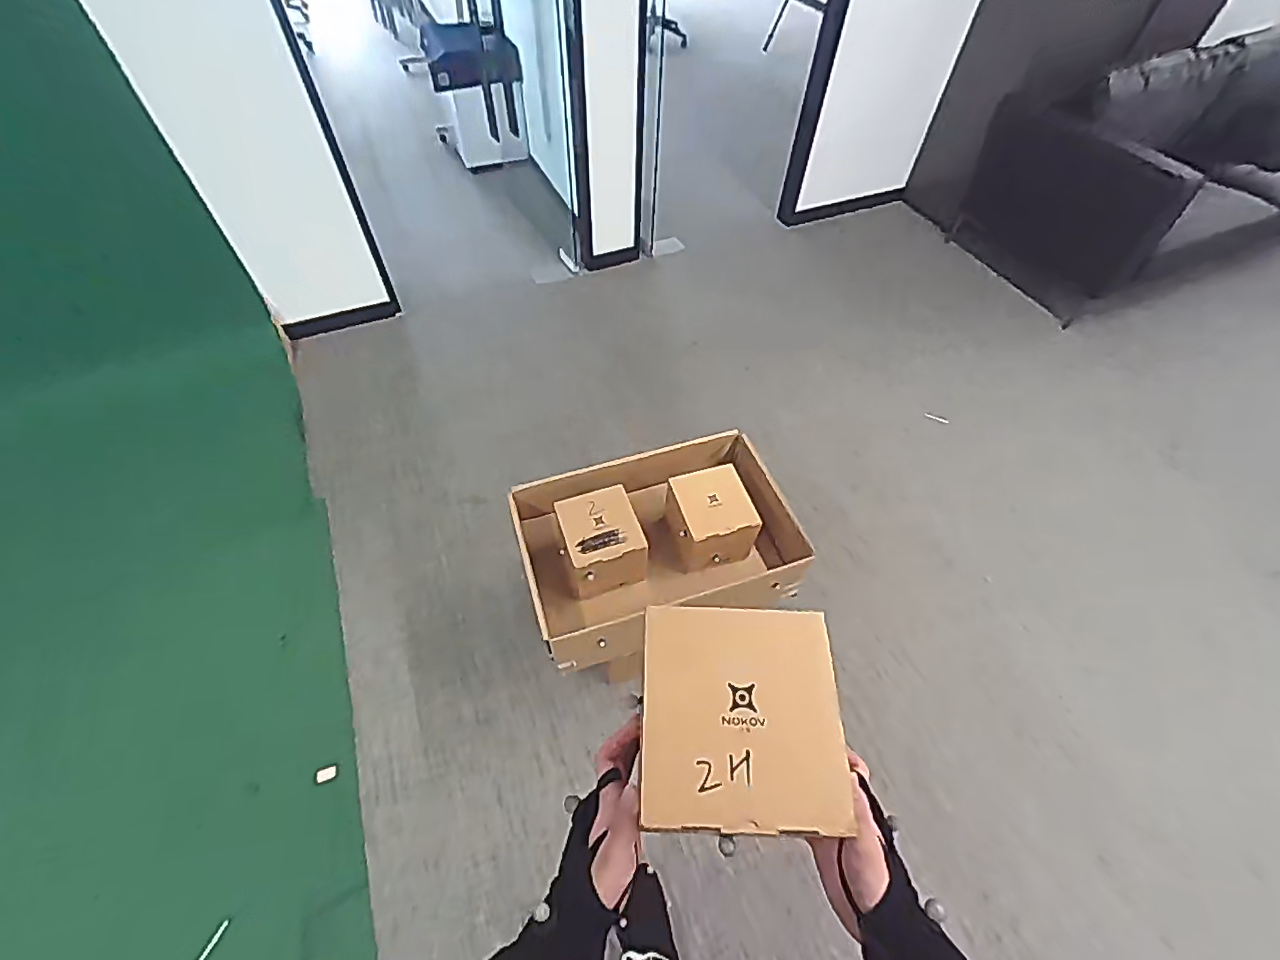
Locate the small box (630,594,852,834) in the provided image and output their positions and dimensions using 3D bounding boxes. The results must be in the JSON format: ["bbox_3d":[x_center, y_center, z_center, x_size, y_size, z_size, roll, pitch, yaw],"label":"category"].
[{"bbox_3d":[0.077,0.224,0.509,0.168,0.176,0.179,2,56,1],"label":"small box"}]

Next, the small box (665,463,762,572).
[{"bbox_3d":[0.165,0.090,1.285,0.168,0.176,0.179,-14,56,-12],"label":"small box"}]
